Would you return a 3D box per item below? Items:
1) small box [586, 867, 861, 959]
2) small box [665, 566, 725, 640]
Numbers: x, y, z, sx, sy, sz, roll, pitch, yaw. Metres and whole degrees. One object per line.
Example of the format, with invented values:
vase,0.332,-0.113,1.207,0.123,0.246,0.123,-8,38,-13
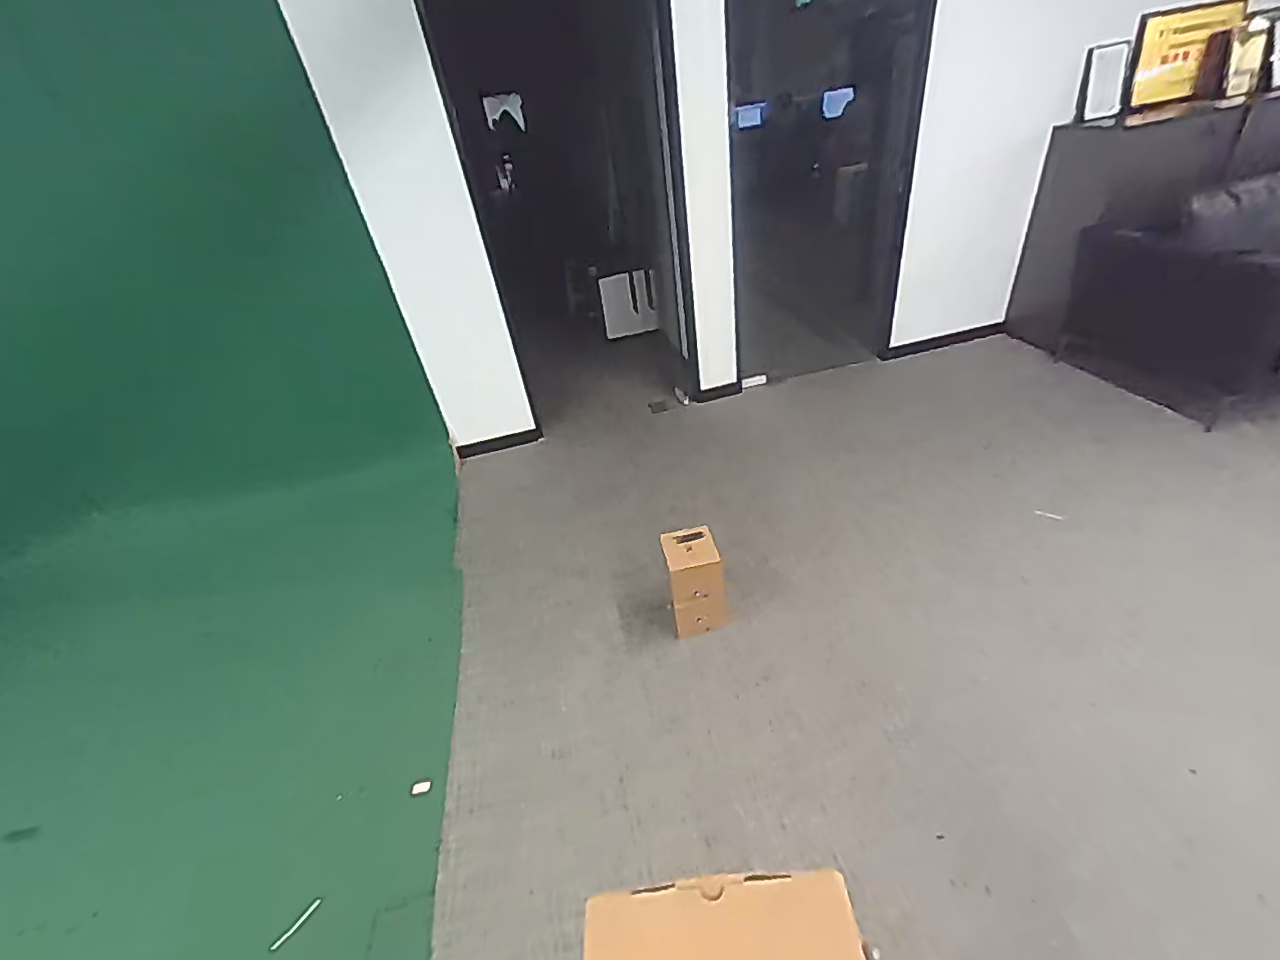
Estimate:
small box,0.063,0.374,0.337,0.168,0.176,0.179,-9,39,4
small box,0.193,0.432,1.872,0.168,0.176,0.179,-12,36,-5
